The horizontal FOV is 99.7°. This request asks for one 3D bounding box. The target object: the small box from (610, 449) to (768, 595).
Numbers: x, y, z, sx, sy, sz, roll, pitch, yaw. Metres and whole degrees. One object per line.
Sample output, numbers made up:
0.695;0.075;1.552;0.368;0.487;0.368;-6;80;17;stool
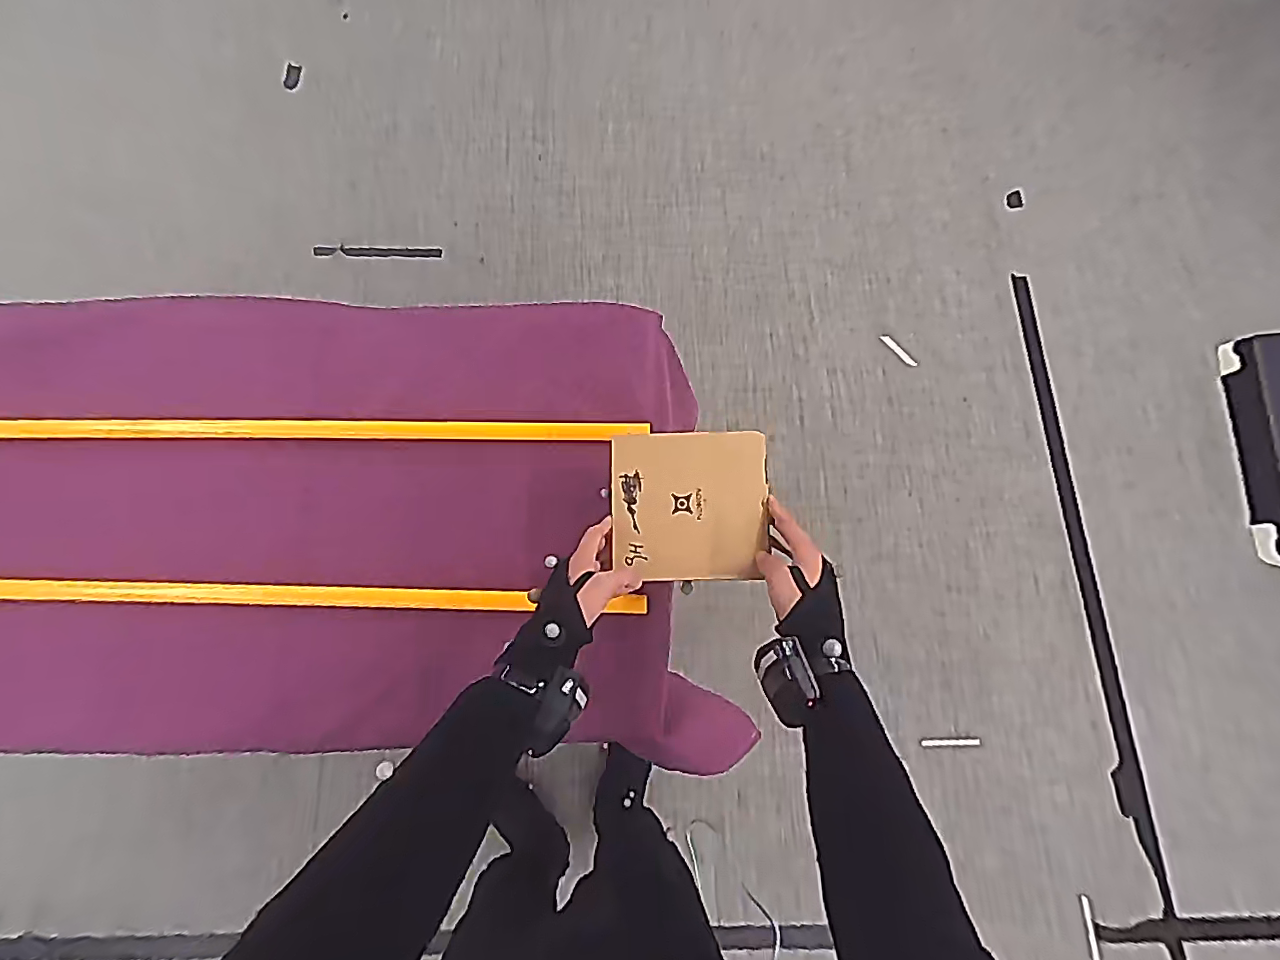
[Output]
0.056;0.058;0.684;0.179;0.176;0.168;-1;80;2;small box
